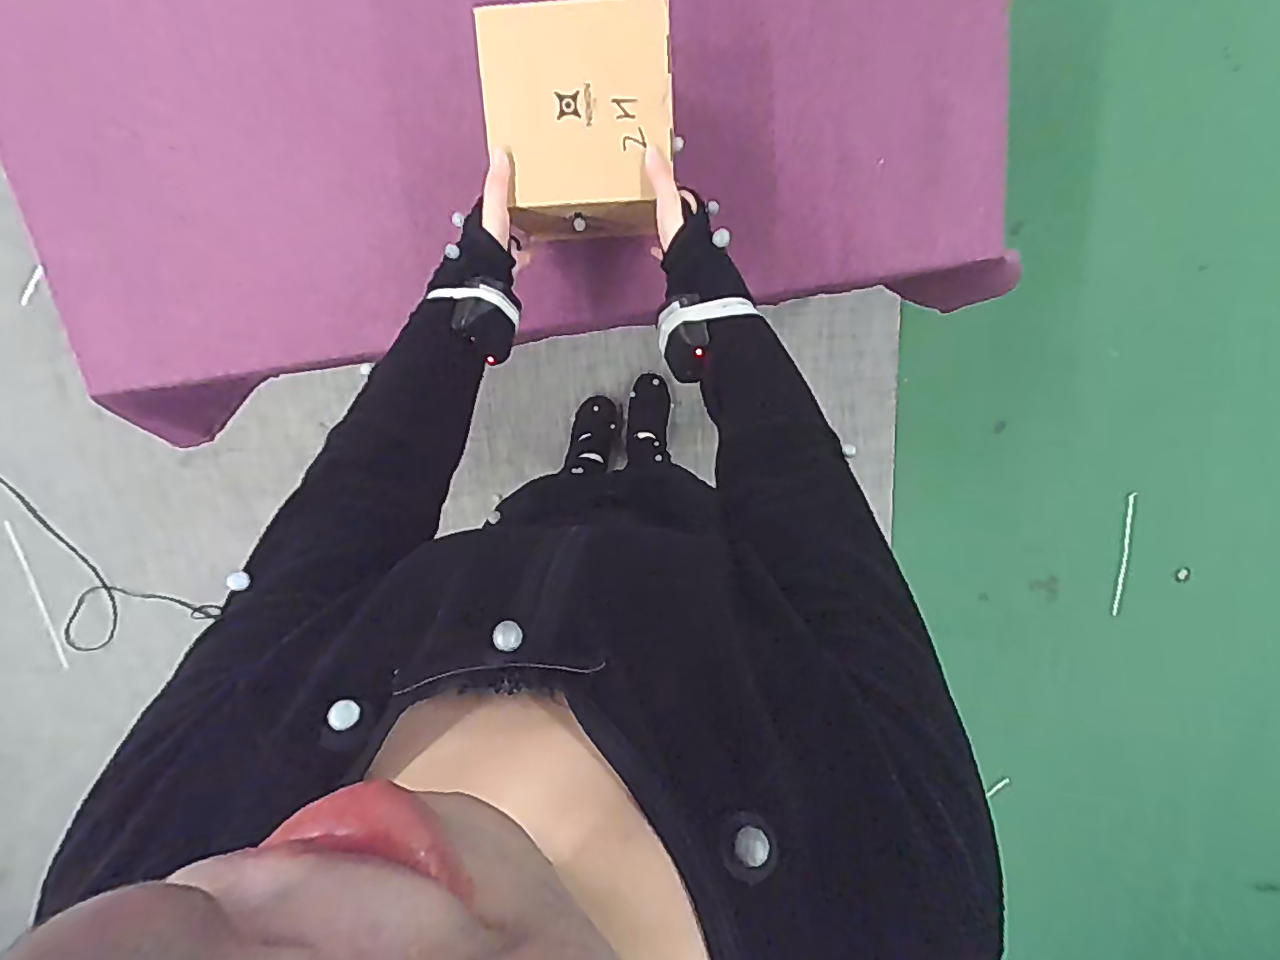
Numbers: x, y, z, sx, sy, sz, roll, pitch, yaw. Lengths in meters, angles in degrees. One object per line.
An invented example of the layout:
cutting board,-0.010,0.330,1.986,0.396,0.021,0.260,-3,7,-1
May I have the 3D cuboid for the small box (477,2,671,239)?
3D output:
small box,-0.056,-0.362,0.579,0.179,0.176,0.168,-2,105,2
